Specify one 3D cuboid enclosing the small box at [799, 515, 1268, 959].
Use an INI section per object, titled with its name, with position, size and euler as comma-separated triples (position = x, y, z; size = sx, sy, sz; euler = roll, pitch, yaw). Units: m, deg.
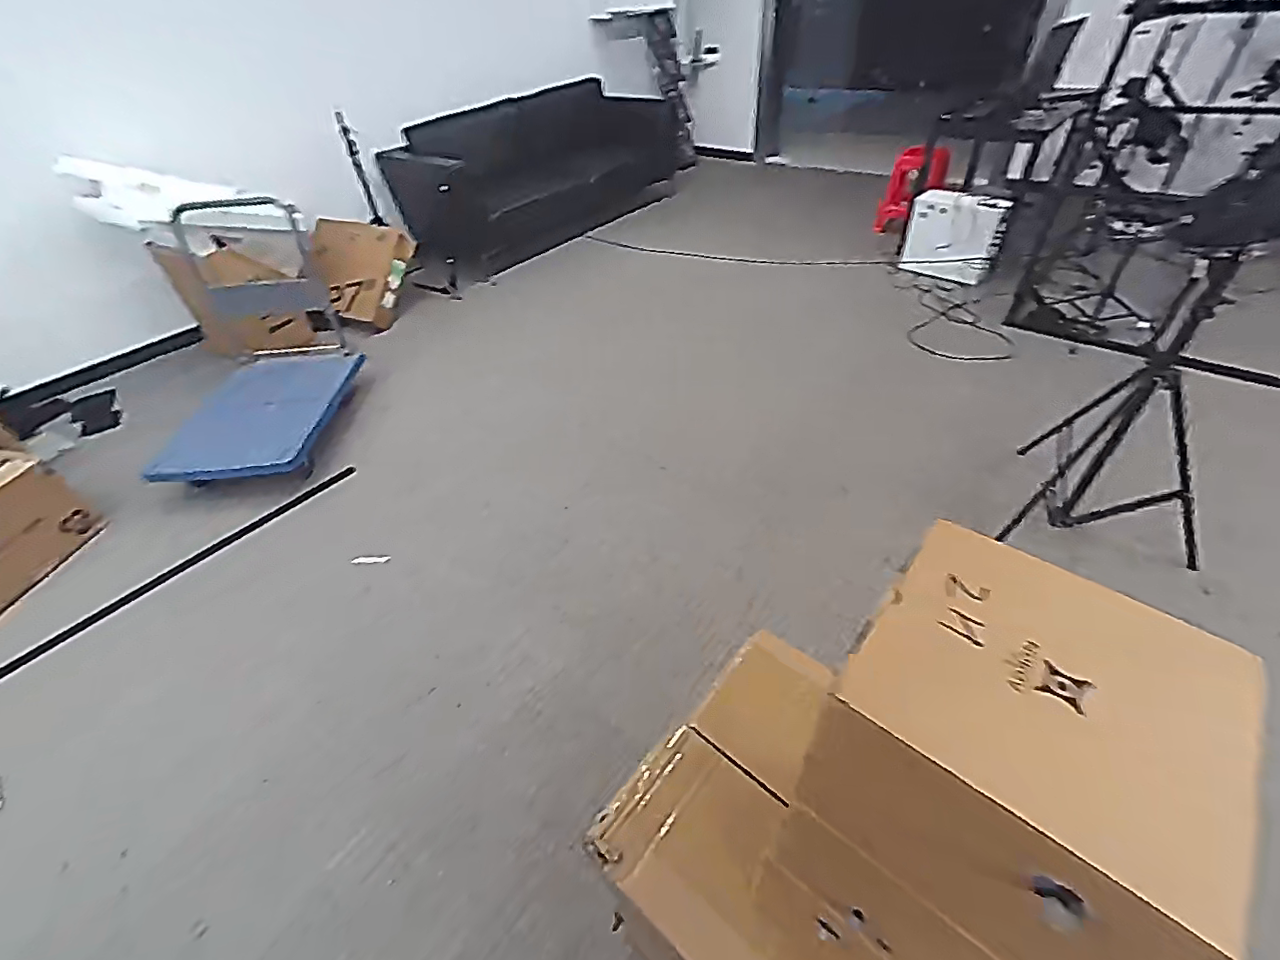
[small box]
position = 0.226, 0.162, 0.350
size = 0.179, 0.176, 0.168
euler = 29, 53, 31
